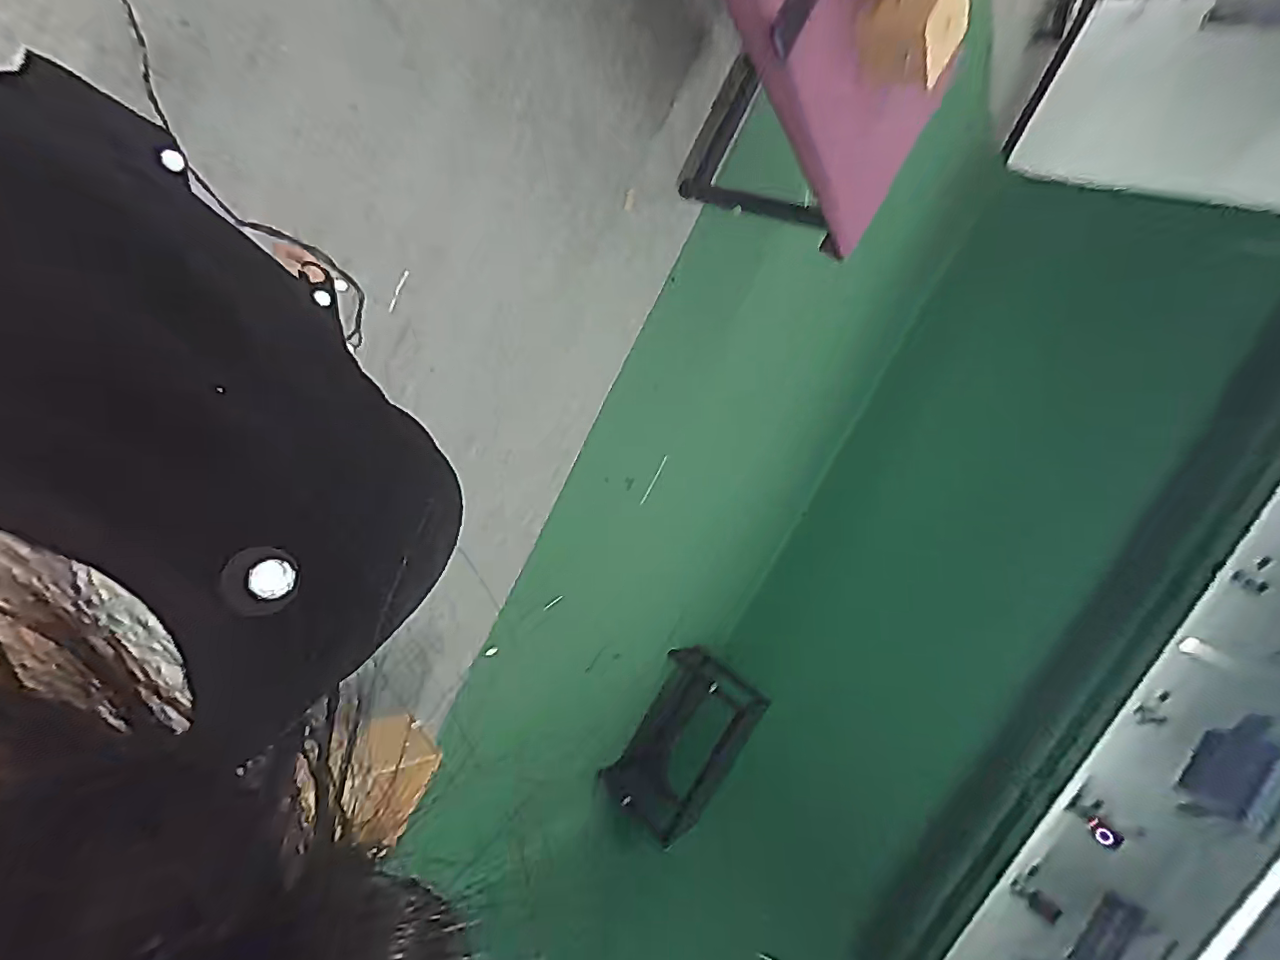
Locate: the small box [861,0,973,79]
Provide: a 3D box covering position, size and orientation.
[{"bbox_3d":[0.621,-1.051,1.218,0.168,0.176,0.179,-59,148,4],"label":"small box"}]
